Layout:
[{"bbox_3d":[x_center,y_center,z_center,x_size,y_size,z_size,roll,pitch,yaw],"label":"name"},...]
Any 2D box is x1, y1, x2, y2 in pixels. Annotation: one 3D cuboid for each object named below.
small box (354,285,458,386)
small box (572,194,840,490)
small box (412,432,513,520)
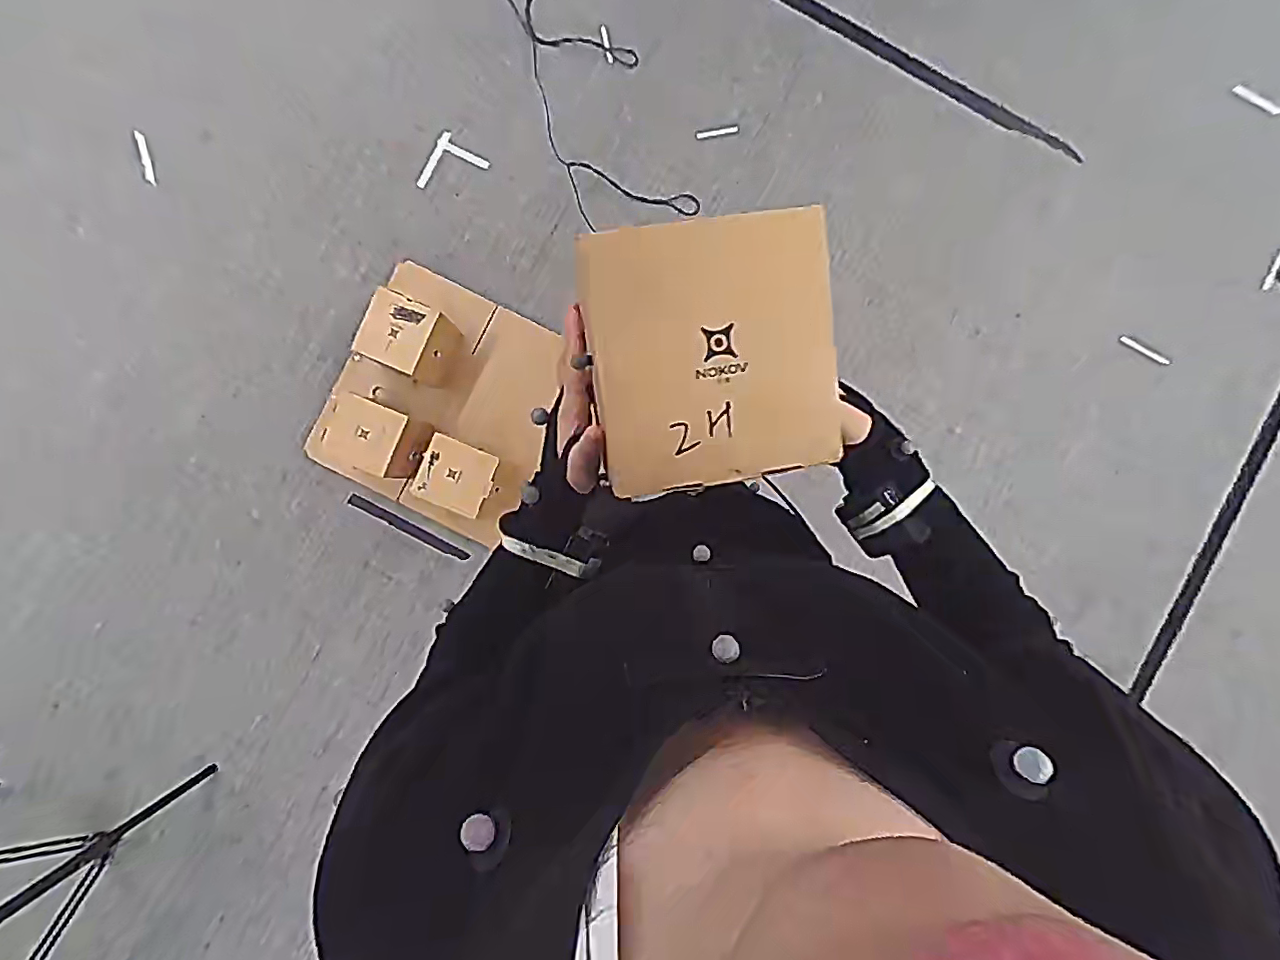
[{"bbox_3d":[-0.591,-0.364,1.394,0.168,0.176,0.179,23,88,-1],"label":"small box"},{"bbox_3d":[0.038,-0.101,0.434,0.168,0.176,0.179,-10,100,-5],"label":"small box"},{"bbox_3d":[-0.444,-0.010,1.388,0.179,0.176,0.168,23,88,-2],"label":"small box"}]
